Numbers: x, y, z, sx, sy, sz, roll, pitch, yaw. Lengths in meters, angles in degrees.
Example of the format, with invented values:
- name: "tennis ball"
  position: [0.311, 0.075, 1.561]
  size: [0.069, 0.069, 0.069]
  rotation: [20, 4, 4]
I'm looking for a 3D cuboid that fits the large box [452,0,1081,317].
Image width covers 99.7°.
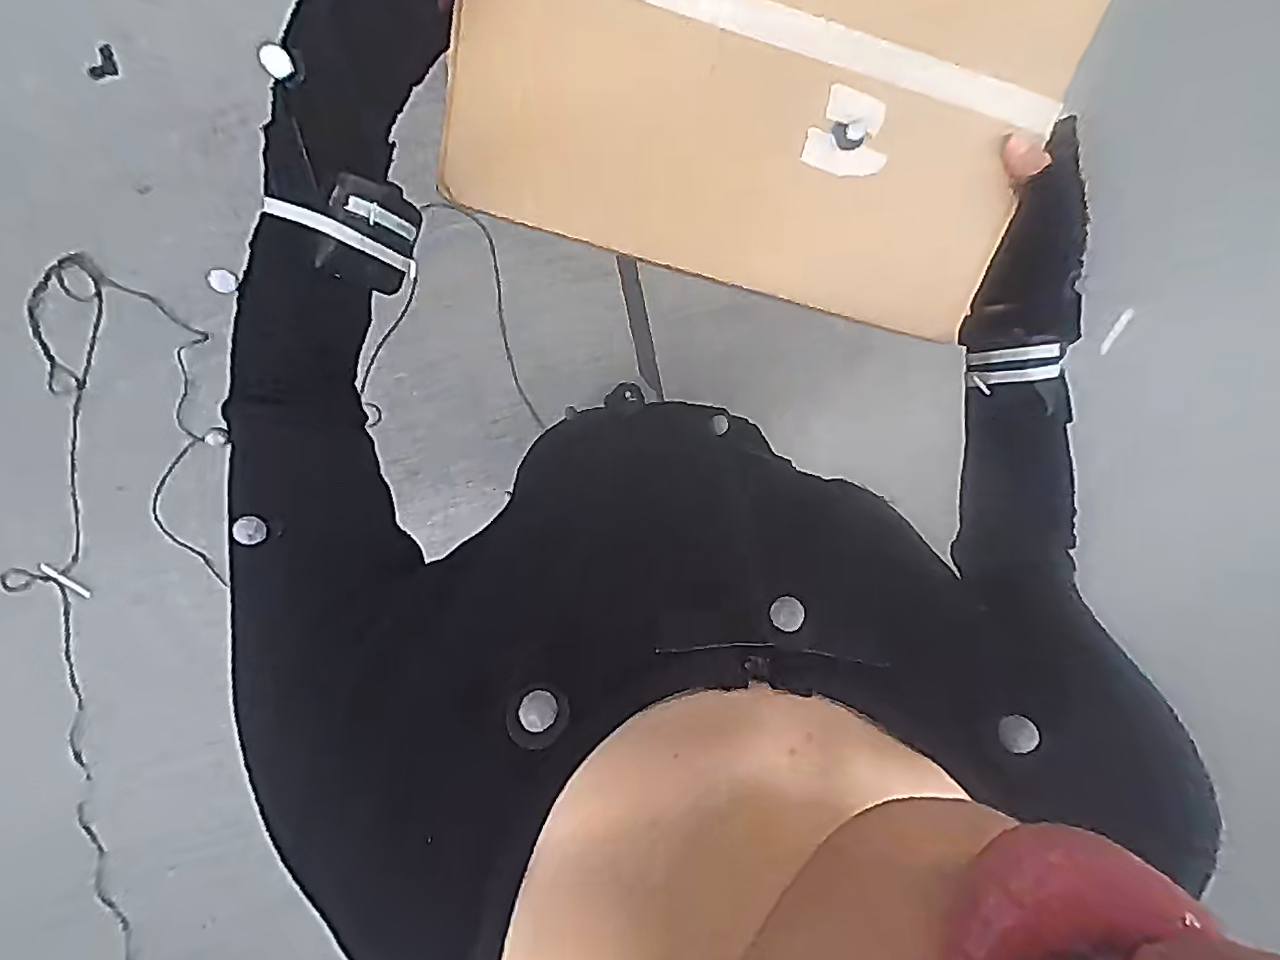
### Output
- name: "large box"
  position: [0.081, -0.364, 0.499]
  size: [0.408, 0.320, 0.320]
  rotation: [12, 113, -7]
